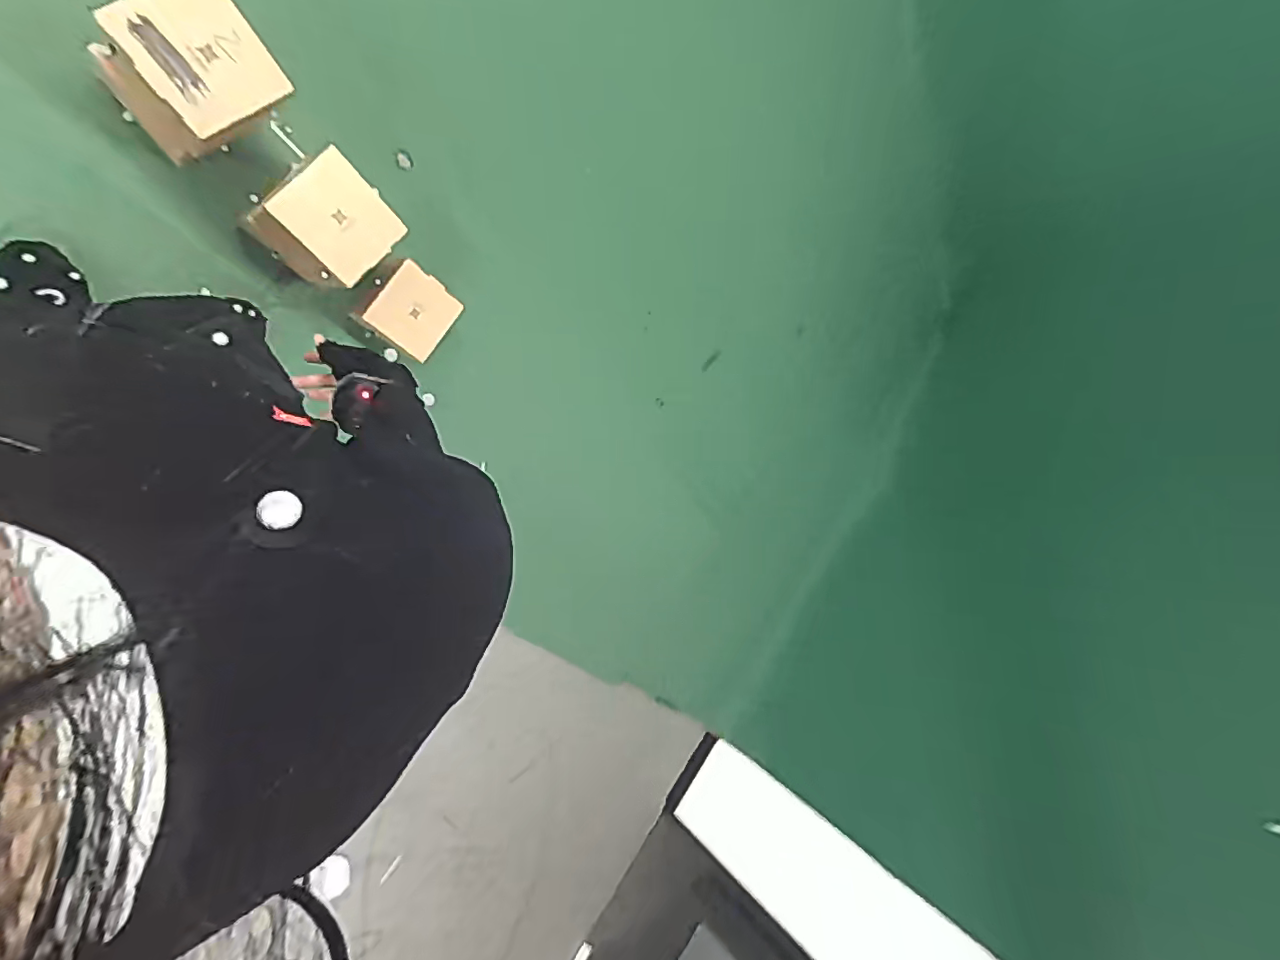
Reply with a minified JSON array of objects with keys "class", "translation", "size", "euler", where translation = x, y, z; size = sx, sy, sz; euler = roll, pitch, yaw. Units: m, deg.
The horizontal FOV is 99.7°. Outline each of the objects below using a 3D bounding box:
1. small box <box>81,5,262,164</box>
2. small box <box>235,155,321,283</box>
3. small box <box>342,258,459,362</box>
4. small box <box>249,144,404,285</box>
[{"class":"small box","translation":[-0.827,-0.693,0.963],"size":[0.179,0.176,0.168],"euler":[-45,131,-20]},{"class":"small box","translation":[-0.711,-0.538,1.134],"size":[0.179,0.176,0.168],"euler":[-56,135,-12]},{"class":"small box","translation":[-0.582,-0.413,1.305],"size":[0.168,0.176,0.179],"euler":[41,77,-44]},{"class":"small box","translation":[-0.597,-0.492,1.026],"size":[0.168,0.176,0.179],"euler":[-54,134,-13]}]
